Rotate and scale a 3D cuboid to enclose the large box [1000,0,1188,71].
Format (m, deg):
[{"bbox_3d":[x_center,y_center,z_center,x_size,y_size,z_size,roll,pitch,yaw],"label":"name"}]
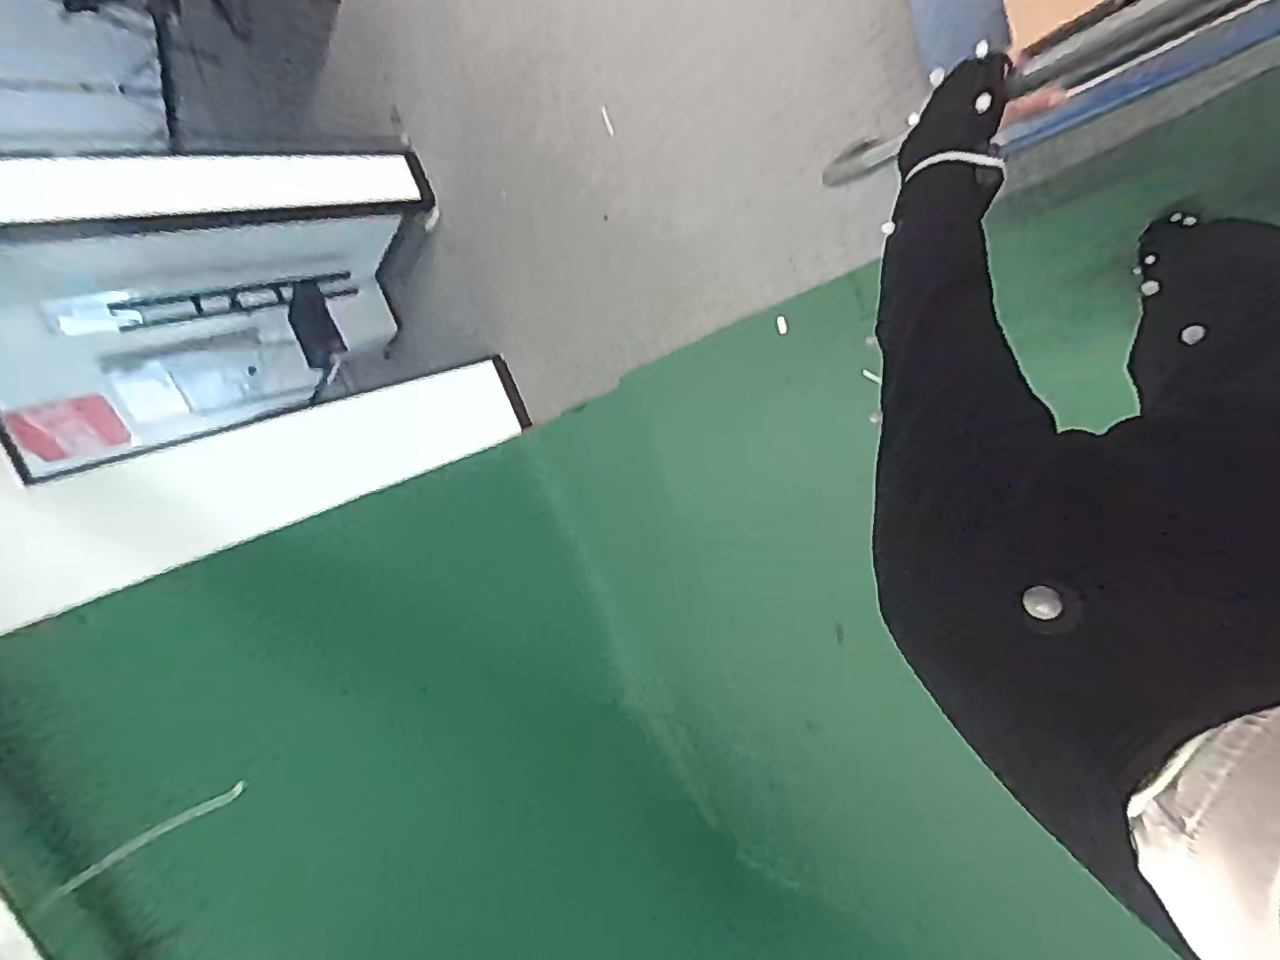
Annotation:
[{"bbox_3d":[0.715,-0.911,0.782,0.320,0.320,0.408,-8,105,50],"label":"large box"}]
